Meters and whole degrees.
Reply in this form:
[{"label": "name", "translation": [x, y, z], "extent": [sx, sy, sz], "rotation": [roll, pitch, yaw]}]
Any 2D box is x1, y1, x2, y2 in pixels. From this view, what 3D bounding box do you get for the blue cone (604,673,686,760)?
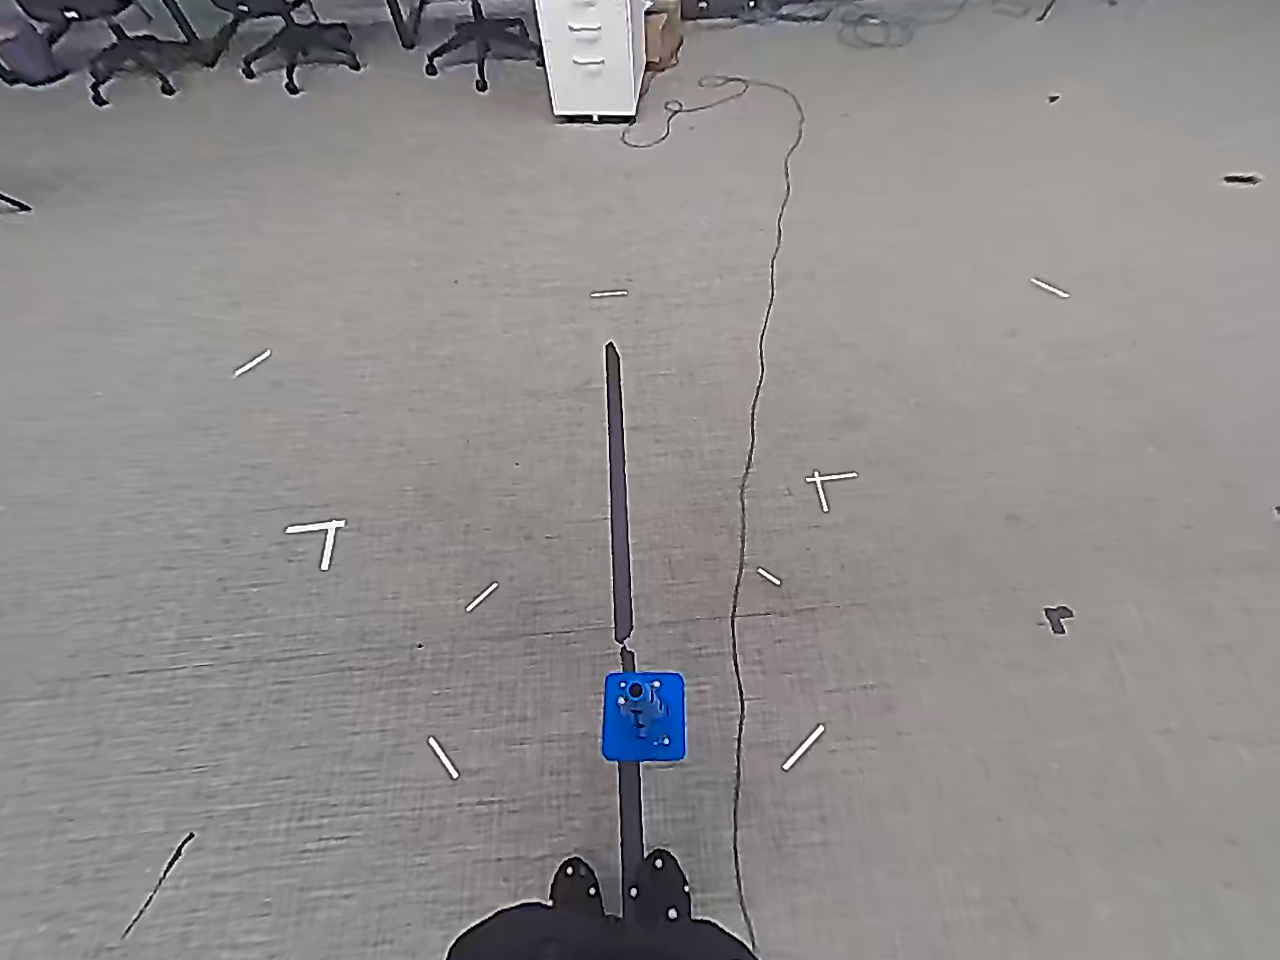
[{"label": "blue cone", "translation": [0.004, 0.481, 1.154], "extent": [0.193, 0.380, 0.192], "rotation": [-2, 59, 1]}]
